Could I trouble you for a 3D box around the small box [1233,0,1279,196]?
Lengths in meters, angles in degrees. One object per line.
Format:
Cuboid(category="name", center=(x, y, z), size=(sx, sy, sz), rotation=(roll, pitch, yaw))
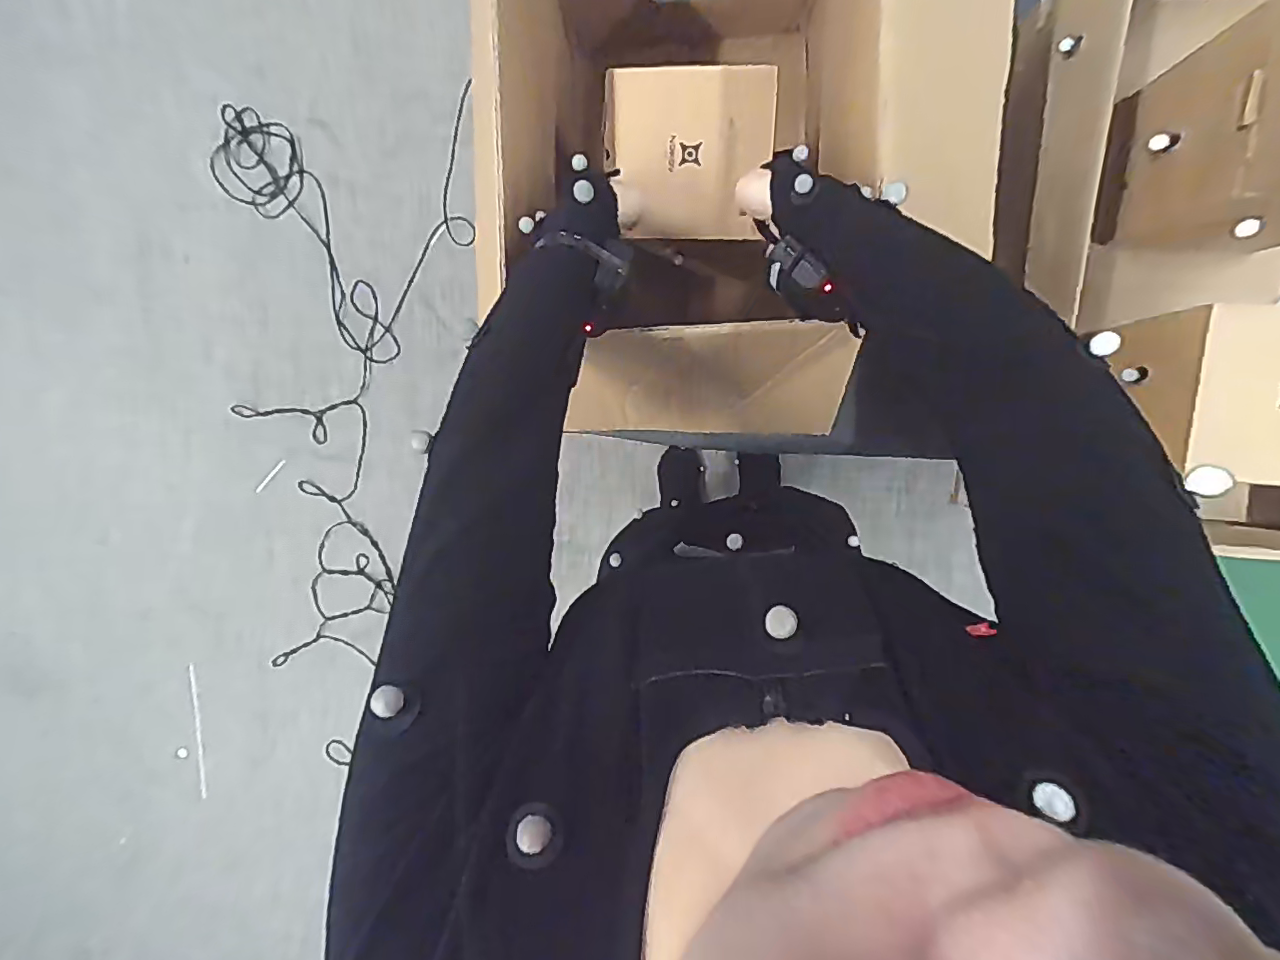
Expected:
Cuboid(category="small box", center=(0.607, -0.325, 0.391), size=(0.168, 0.176, 0.179), rotation=(5, 100, 5))
